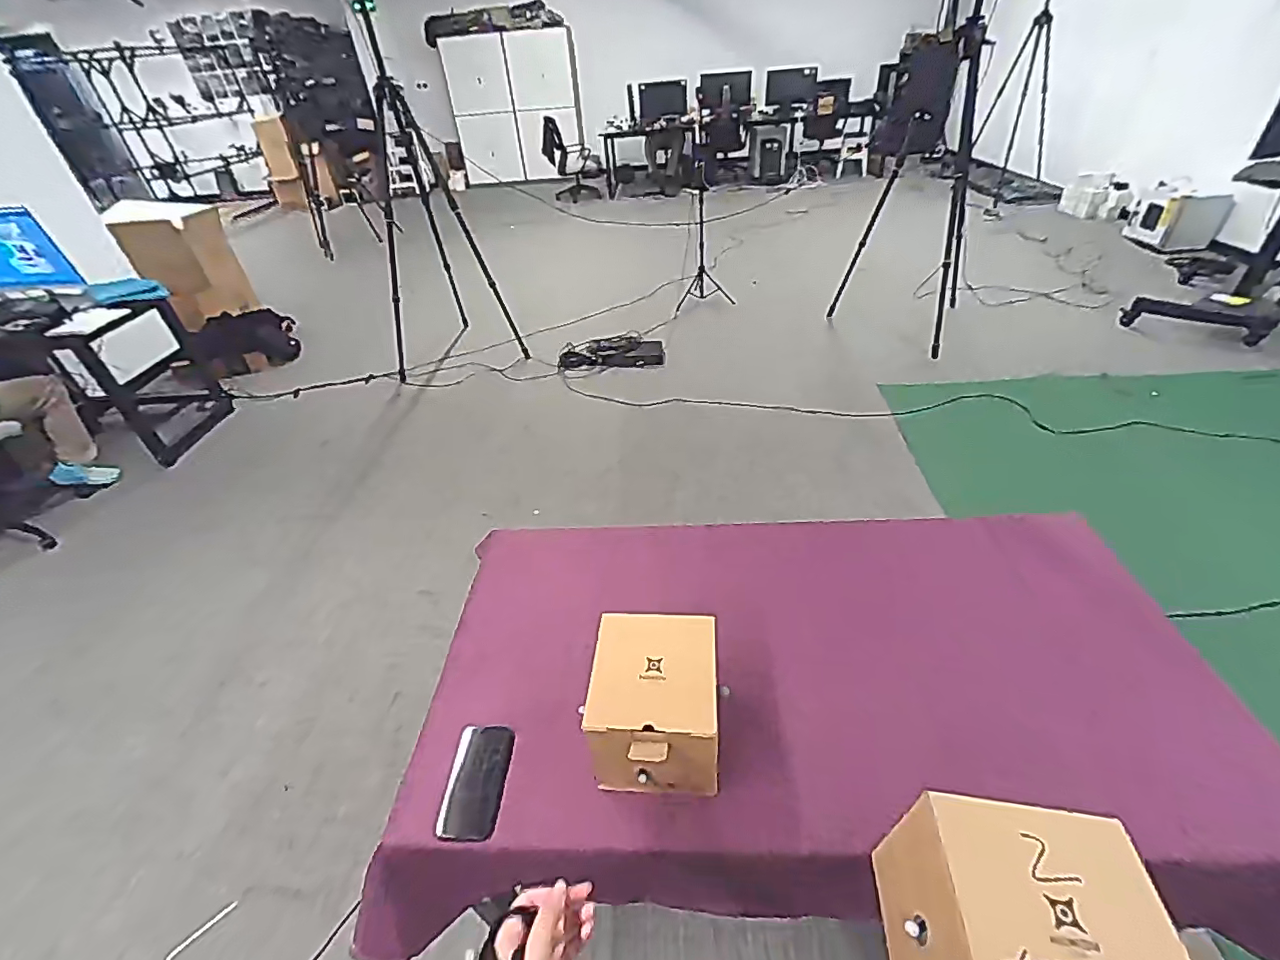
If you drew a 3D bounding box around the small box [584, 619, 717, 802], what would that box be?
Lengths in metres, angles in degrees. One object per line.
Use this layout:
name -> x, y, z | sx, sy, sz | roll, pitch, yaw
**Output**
small box -> 0.024, 0.323, 0.767 | 0.168, 0.176, 0.179 | 0, 38, 7
